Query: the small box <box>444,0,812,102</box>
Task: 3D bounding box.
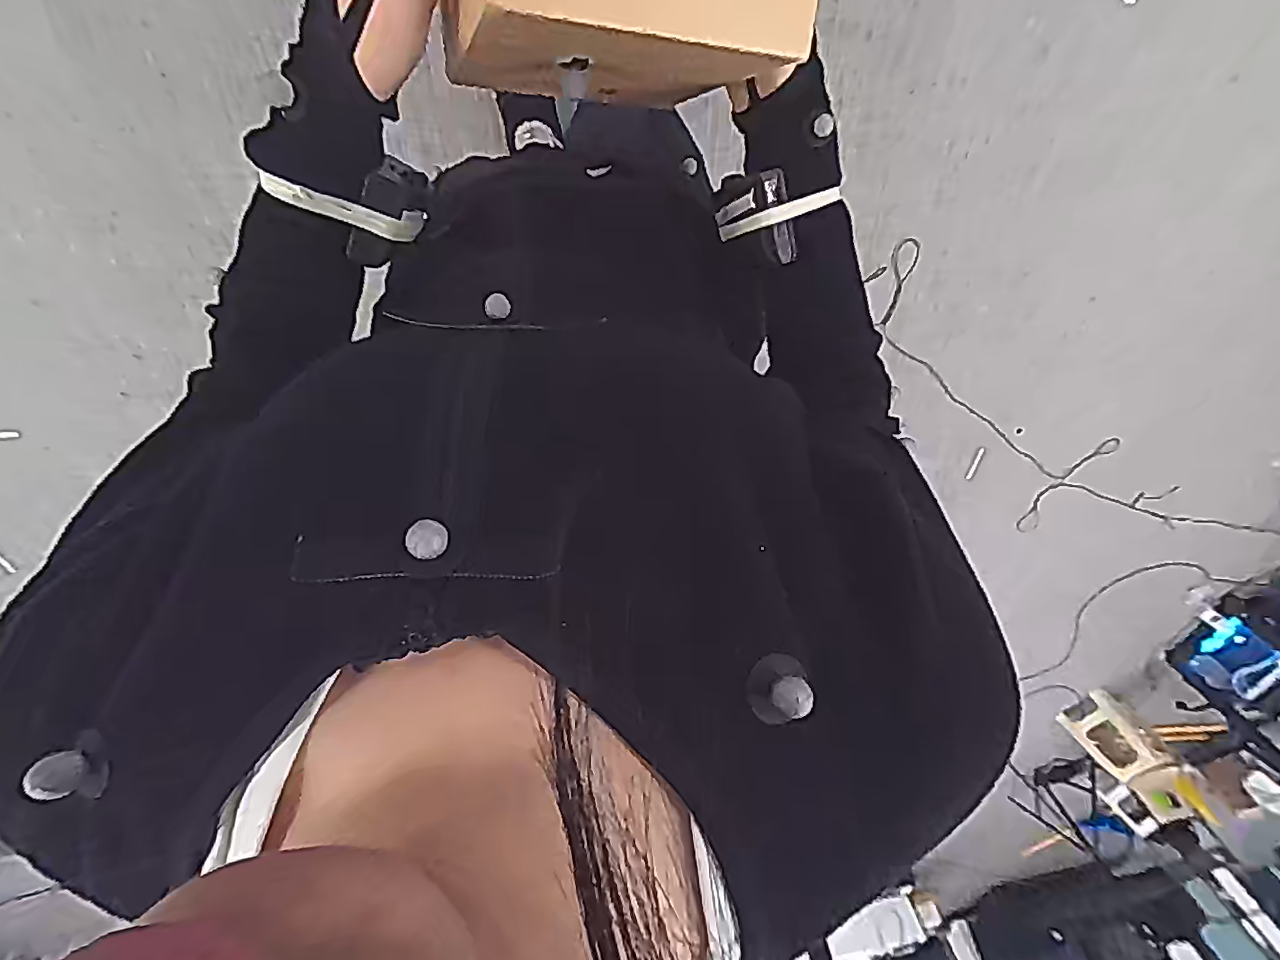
[{"bbox_3d":[-0.017,-0.320,0.283,0.168,0.176,0.179,-9,117,-21],"label":"small box"}]
